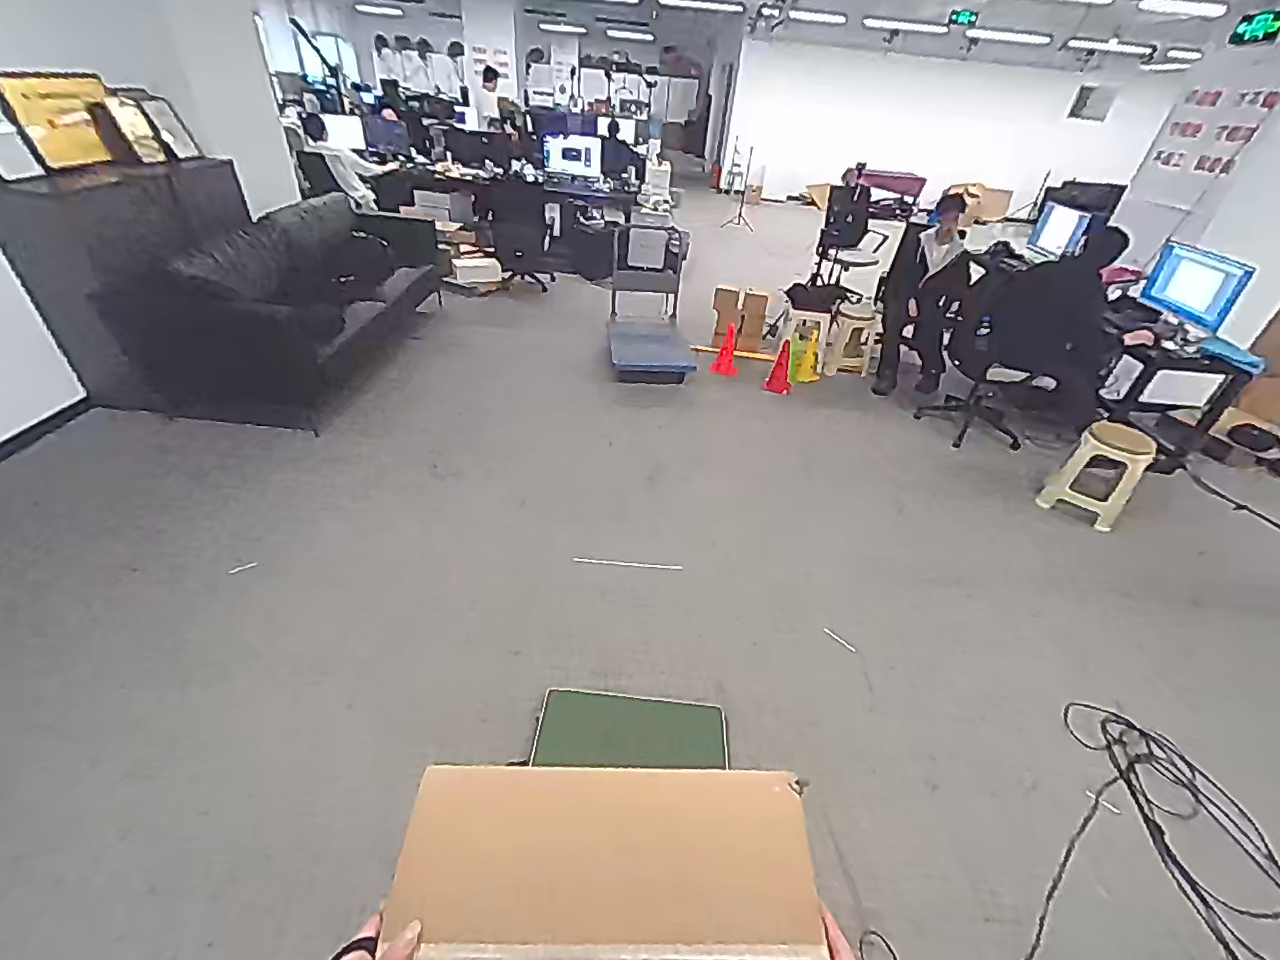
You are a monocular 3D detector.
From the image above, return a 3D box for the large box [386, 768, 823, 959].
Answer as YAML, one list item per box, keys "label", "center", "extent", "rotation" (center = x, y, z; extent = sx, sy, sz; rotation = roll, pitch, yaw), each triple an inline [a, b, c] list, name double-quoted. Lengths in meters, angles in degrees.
- label: "large box"
  center: [-0.037, 0.536, 0.595]
  extent: [0.408, 0.320, 0.320]
  rotation: [1, 45, -2]
